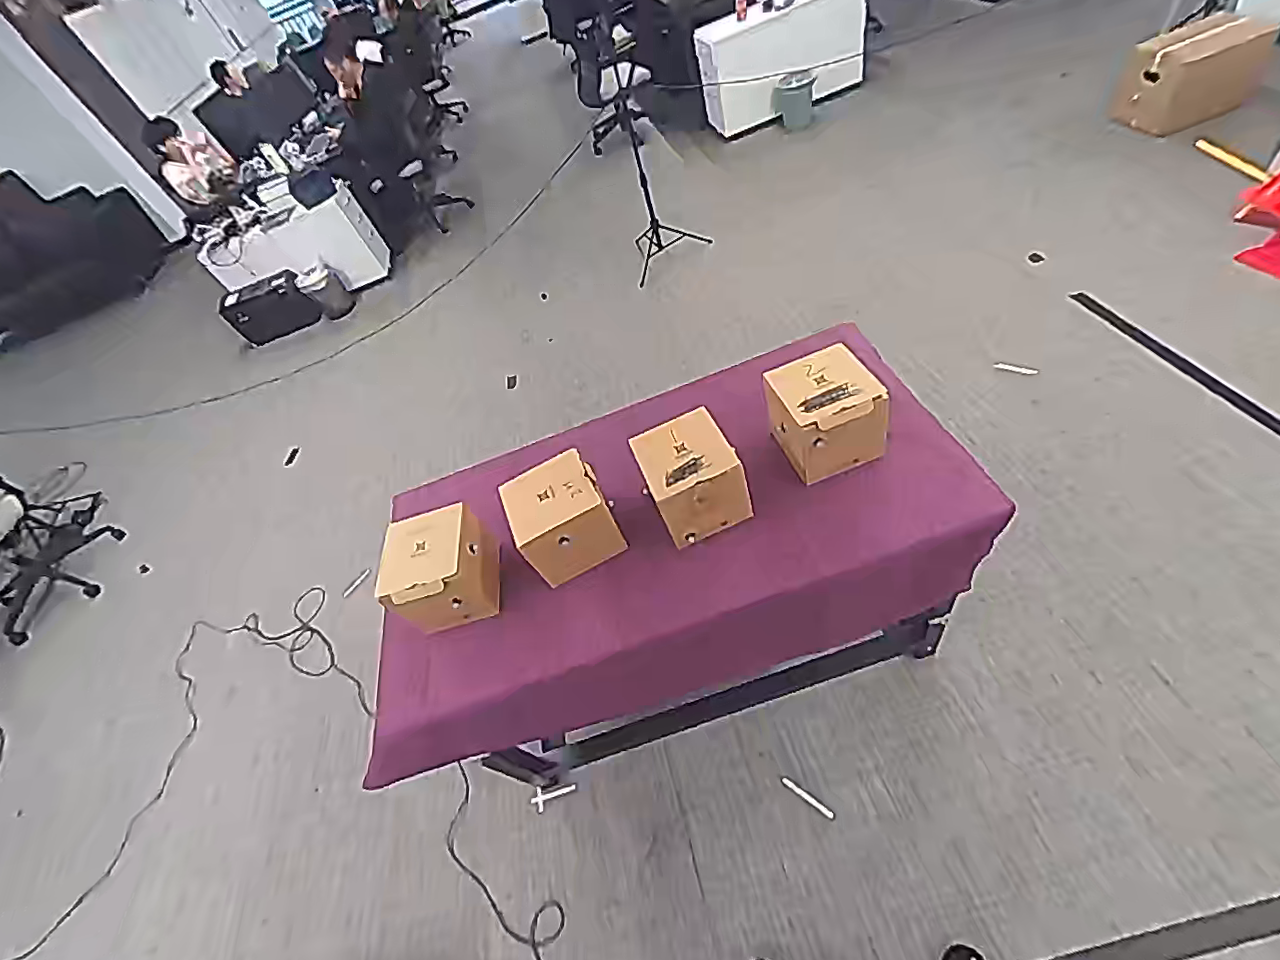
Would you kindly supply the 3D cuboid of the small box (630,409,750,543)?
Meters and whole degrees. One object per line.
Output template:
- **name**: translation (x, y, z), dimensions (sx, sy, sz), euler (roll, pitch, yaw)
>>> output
- **small box**: translation (0.102, 0.001, 1.057), dimensions (0.168, 0.176, 0.179), euler (-24, 48, 0)

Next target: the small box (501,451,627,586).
- **small box**: translation (-0.150, 0.082, 1.082), dimensions (0.179, 0.176, 0.168), euler (-27, 49, -3)

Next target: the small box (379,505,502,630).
- **small box**: translation (-0.390, 0.184, 1.088), dimensions (0.168, 0.176, 0.179), euler (-17, 49, 6)
